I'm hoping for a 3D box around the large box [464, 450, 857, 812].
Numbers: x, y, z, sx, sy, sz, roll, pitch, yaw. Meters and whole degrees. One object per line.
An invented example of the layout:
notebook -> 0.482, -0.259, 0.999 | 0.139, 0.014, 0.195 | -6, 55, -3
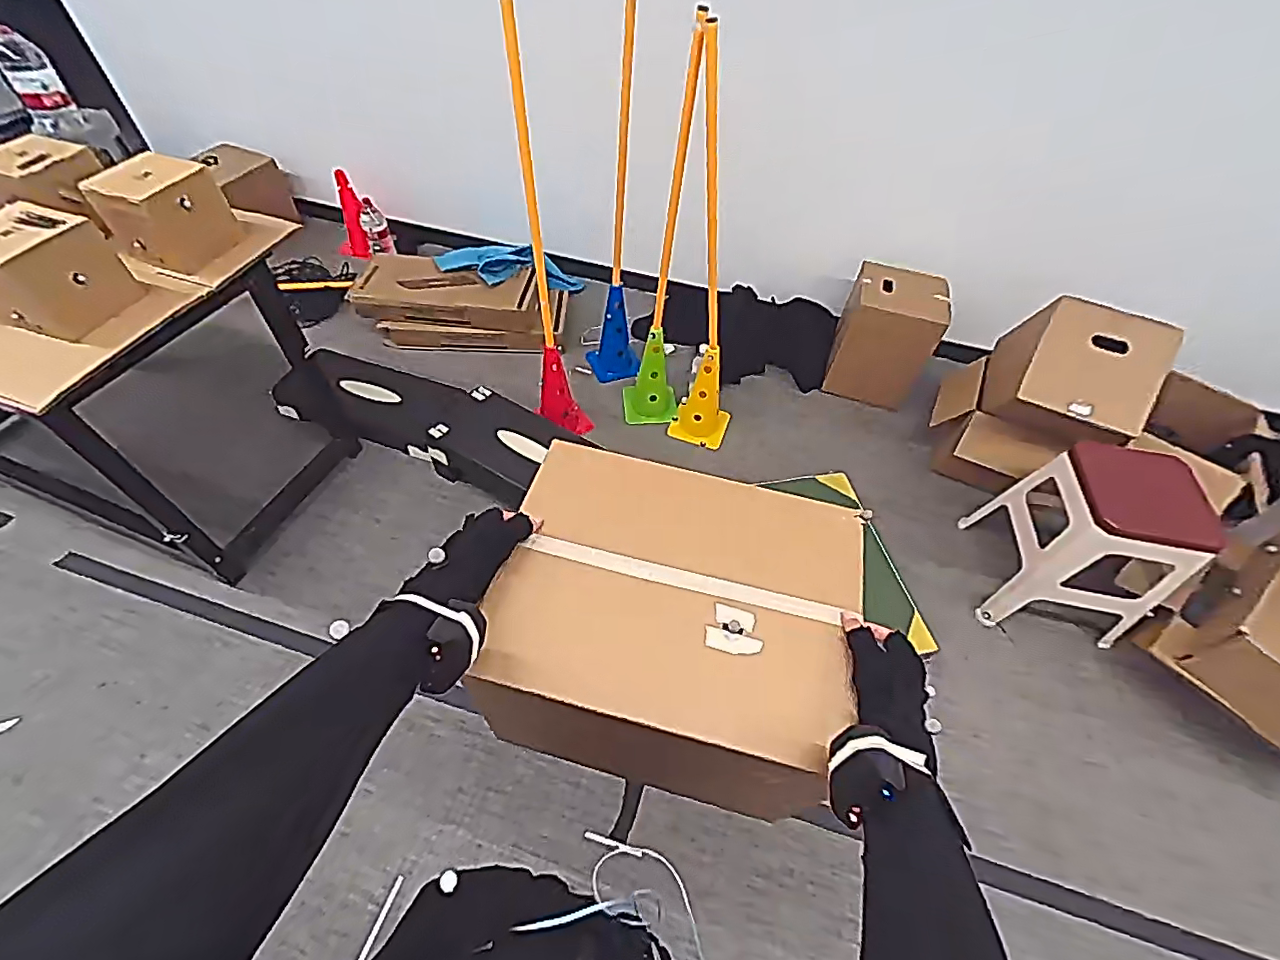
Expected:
large box -> 0.035, 0.207, 0.732 | 0.408, 0.320, 0.320 | 14, 54, 6
